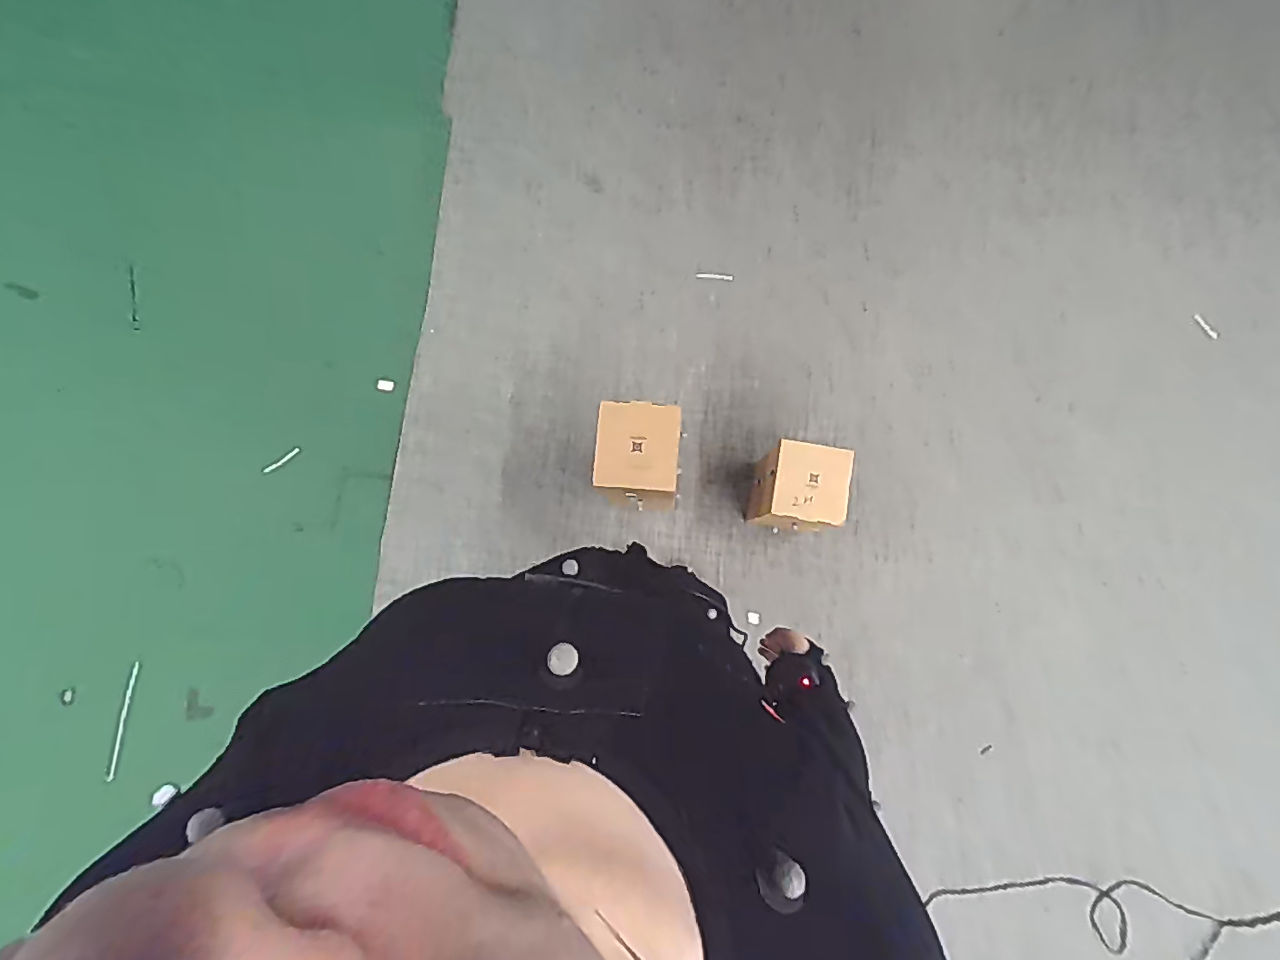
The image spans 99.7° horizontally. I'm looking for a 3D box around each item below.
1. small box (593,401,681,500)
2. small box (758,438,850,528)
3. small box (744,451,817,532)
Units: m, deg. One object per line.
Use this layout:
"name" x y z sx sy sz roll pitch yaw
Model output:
"small box" -0.002 -0.057 1.144 0.168 0.176 0.179 3 83 4
"small box" 0.383 0.012 1.288 0.168 0.176 0.179 9 83 4
"small box" 0.385 0.036 1.451 0.168 0.176 0.179 11 84 3
